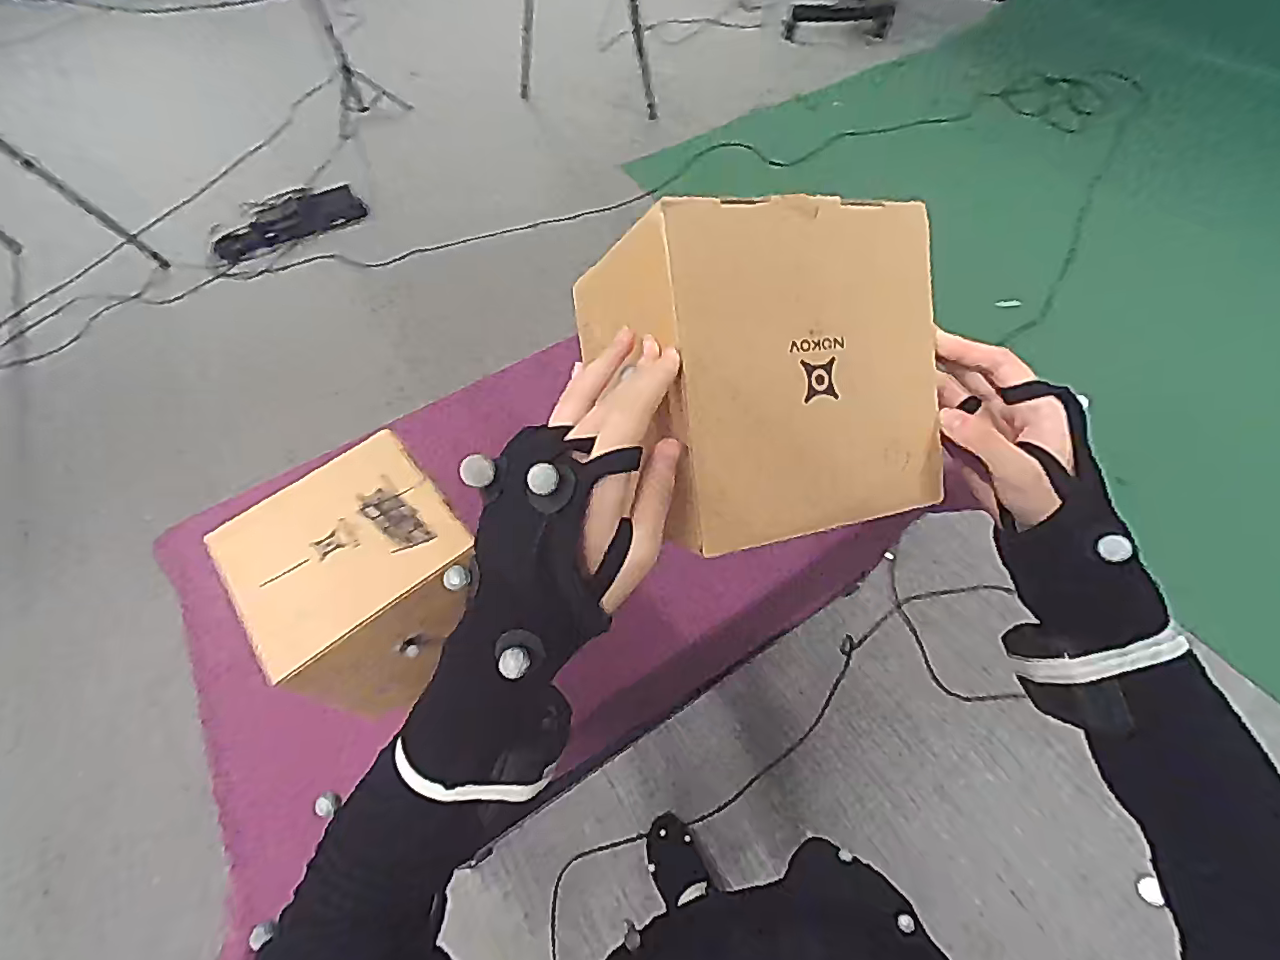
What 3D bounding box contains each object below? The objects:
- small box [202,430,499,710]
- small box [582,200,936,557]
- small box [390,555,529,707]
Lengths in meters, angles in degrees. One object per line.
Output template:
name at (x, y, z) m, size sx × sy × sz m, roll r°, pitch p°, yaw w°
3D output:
small box at (-0.257, 0.091, 0.525) m, size 0.179 × 0.176 × 0.168 m, roll -37°, pitch 63°, yaw -18°
small box at (0.066, -0.064, 0.363) m, size 0.168 × 0.176 × 0.179 m, roll -9°, pitch 98°, yaw -19°
small box at (-0.261, 0.159, 0.676) m, size 0.168 × 0.176 × 0.179 m, roll -36°, pitch 62°, yaw -19°
